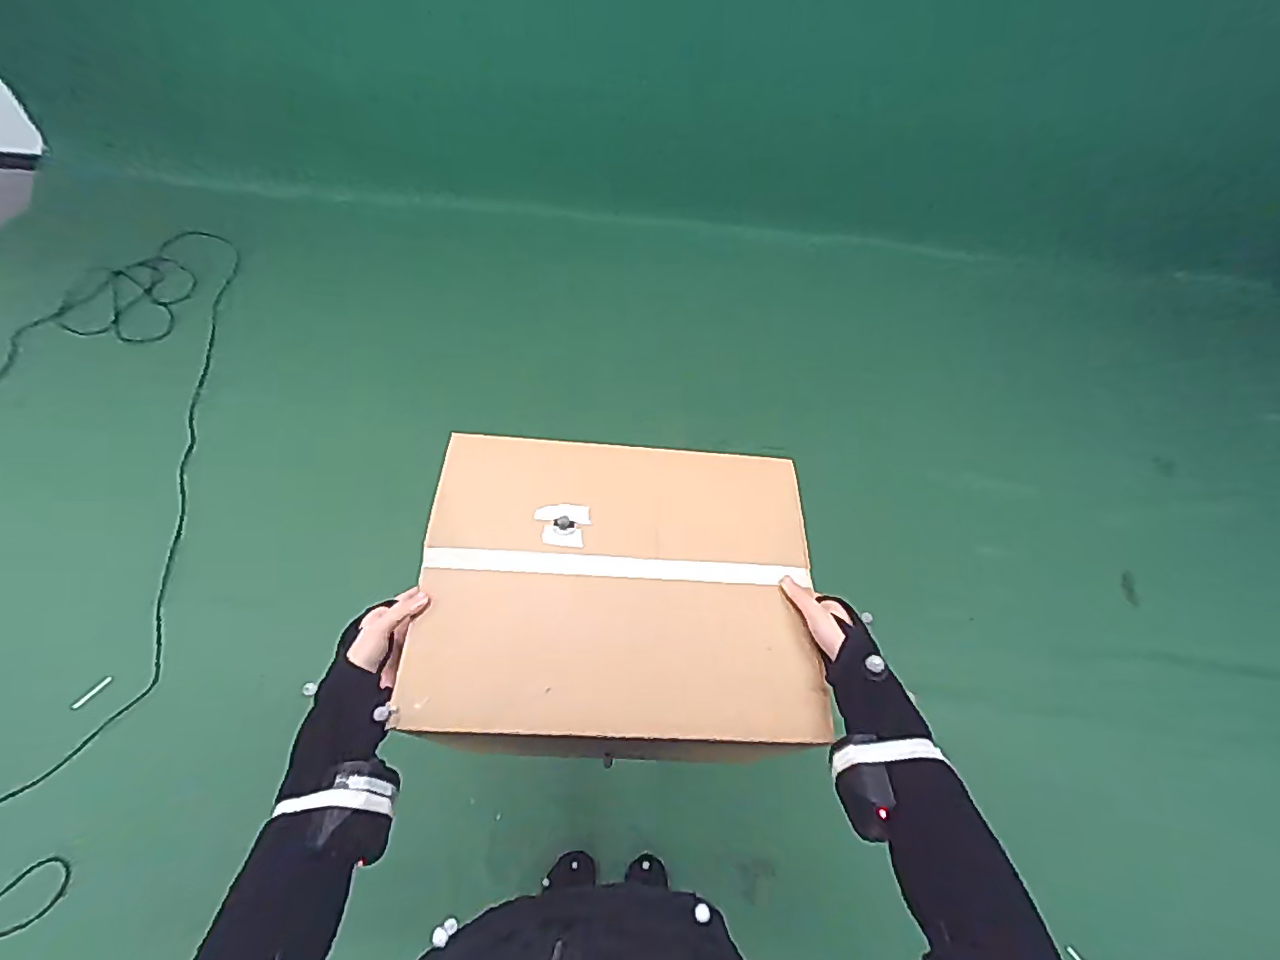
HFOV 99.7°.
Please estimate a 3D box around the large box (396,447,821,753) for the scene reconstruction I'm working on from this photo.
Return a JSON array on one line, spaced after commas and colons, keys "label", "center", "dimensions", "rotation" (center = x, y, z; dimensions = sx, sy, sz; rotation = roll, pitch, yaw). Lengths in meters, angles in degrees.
[{"label": "large box", "center": [-0.034, 0.176, 0.701], "dimensions": [0.408, 0.320, 0.320], "rotation": [4, 59, -4]}]
